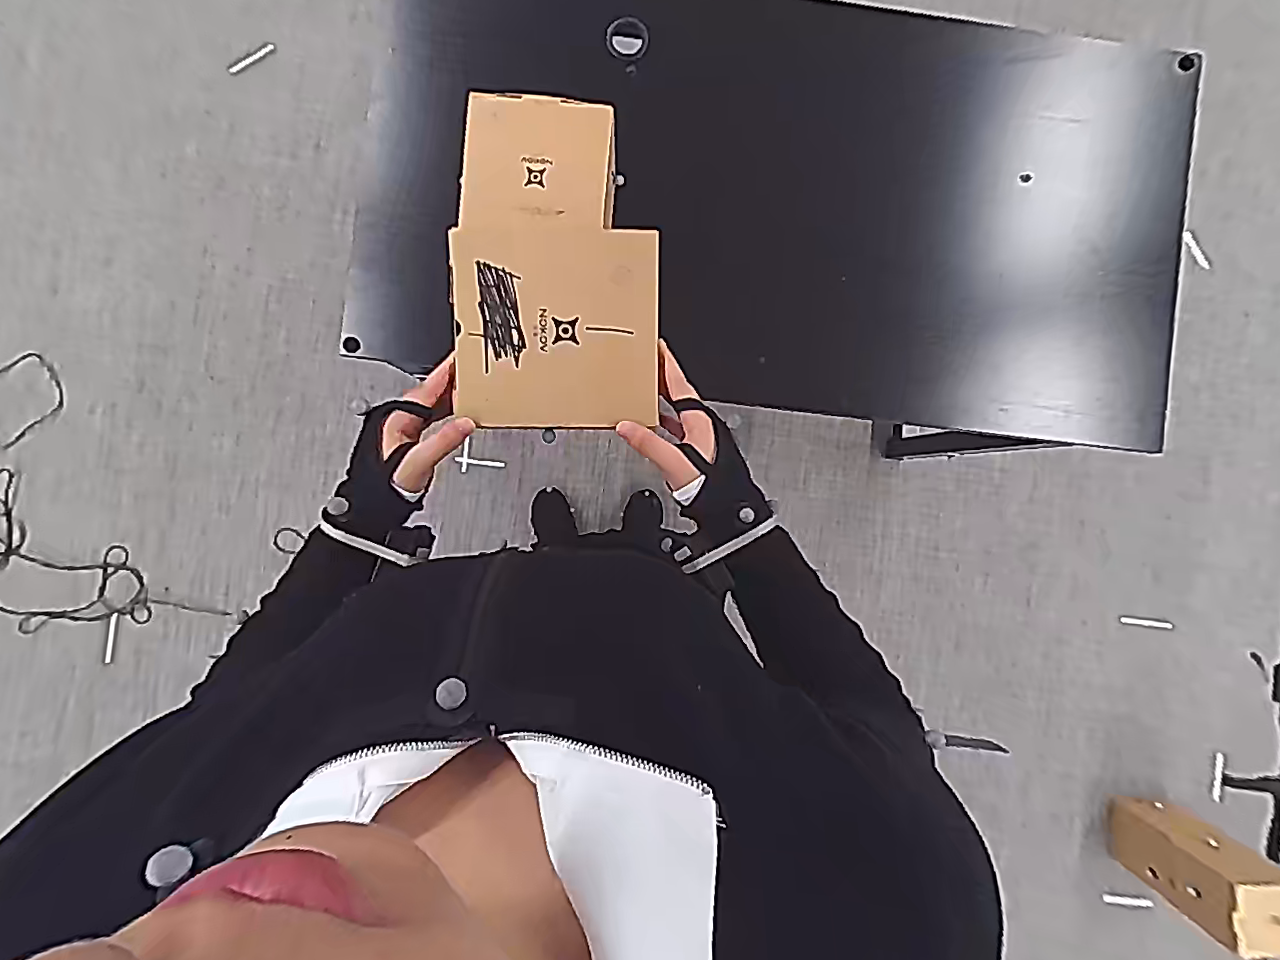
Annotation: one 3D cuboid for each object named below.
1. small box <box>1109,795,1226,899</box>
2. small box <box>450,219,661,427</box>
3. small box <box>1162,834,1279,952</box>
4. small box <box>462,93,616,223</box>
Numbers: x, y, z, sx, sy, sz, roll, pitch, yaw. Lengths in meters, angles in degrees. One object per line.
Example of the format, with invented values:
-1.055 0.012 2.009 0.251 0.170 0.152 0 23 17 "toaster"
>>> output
1.429 0.995 1.475 0.168 0.176 0.179 1 90 -2 "small box"
-0.072 -0.137 0.531 0.179 0.176 0.168 0 95 -3 "small box"
1.427 0.992 1.311 0.179 0.176 0.168 0 90 -1 "small box"
-0.119 -0.347 0.694 0.168 0.176 0.179 4 90 -1 "small box"
